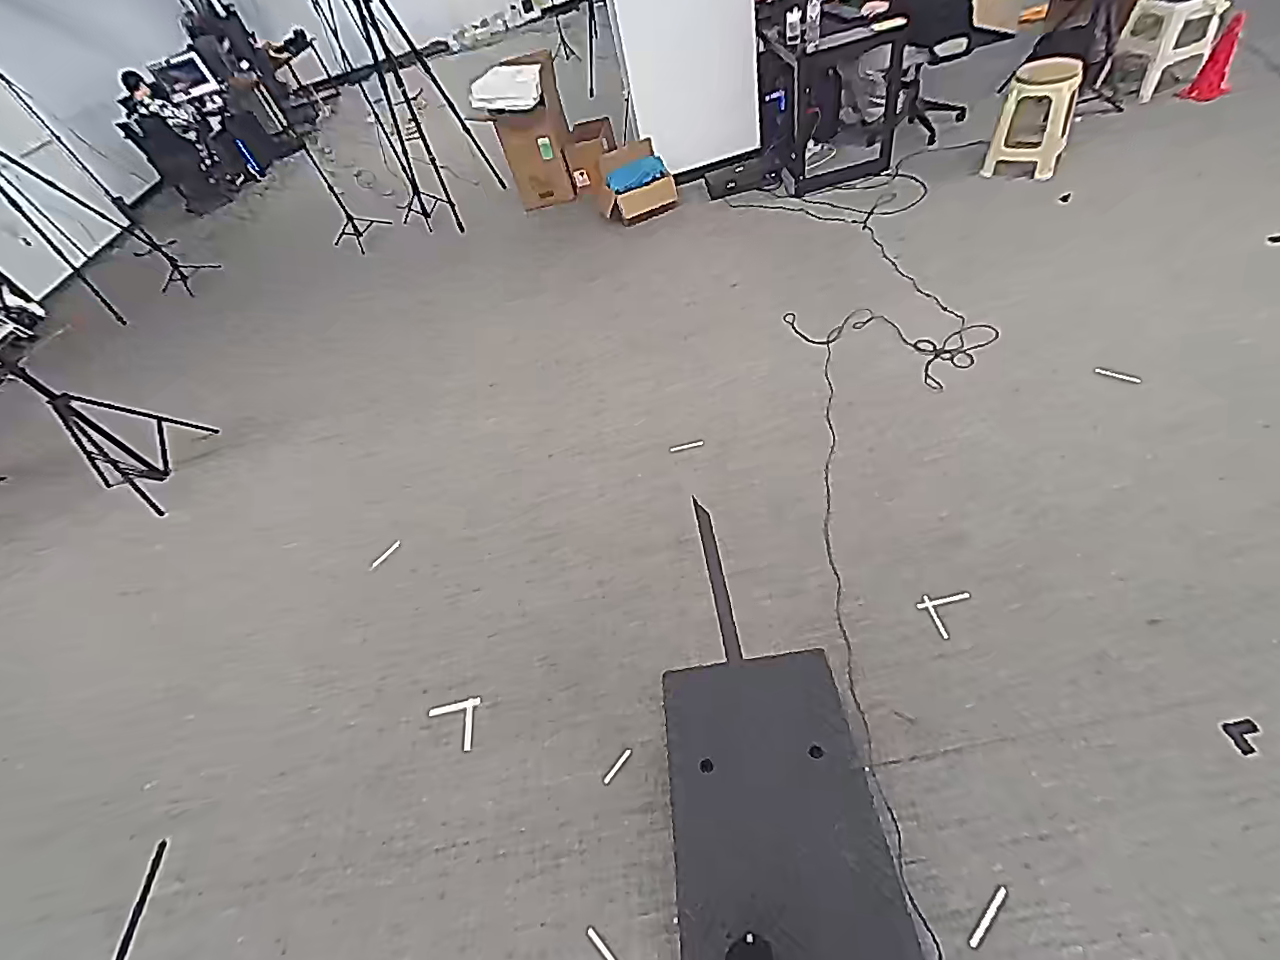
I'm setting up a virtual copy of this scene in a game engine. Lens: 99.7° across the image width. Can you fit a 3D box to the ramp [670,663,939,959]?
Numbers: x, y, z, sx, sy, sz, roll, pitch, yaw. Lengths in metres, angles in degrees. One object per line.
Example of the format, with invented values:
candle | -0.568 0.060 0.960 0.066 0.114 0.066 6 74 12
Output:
ramp | 0.346 0.897 1.233 0.509 0.206 0.991 -15 46 6
